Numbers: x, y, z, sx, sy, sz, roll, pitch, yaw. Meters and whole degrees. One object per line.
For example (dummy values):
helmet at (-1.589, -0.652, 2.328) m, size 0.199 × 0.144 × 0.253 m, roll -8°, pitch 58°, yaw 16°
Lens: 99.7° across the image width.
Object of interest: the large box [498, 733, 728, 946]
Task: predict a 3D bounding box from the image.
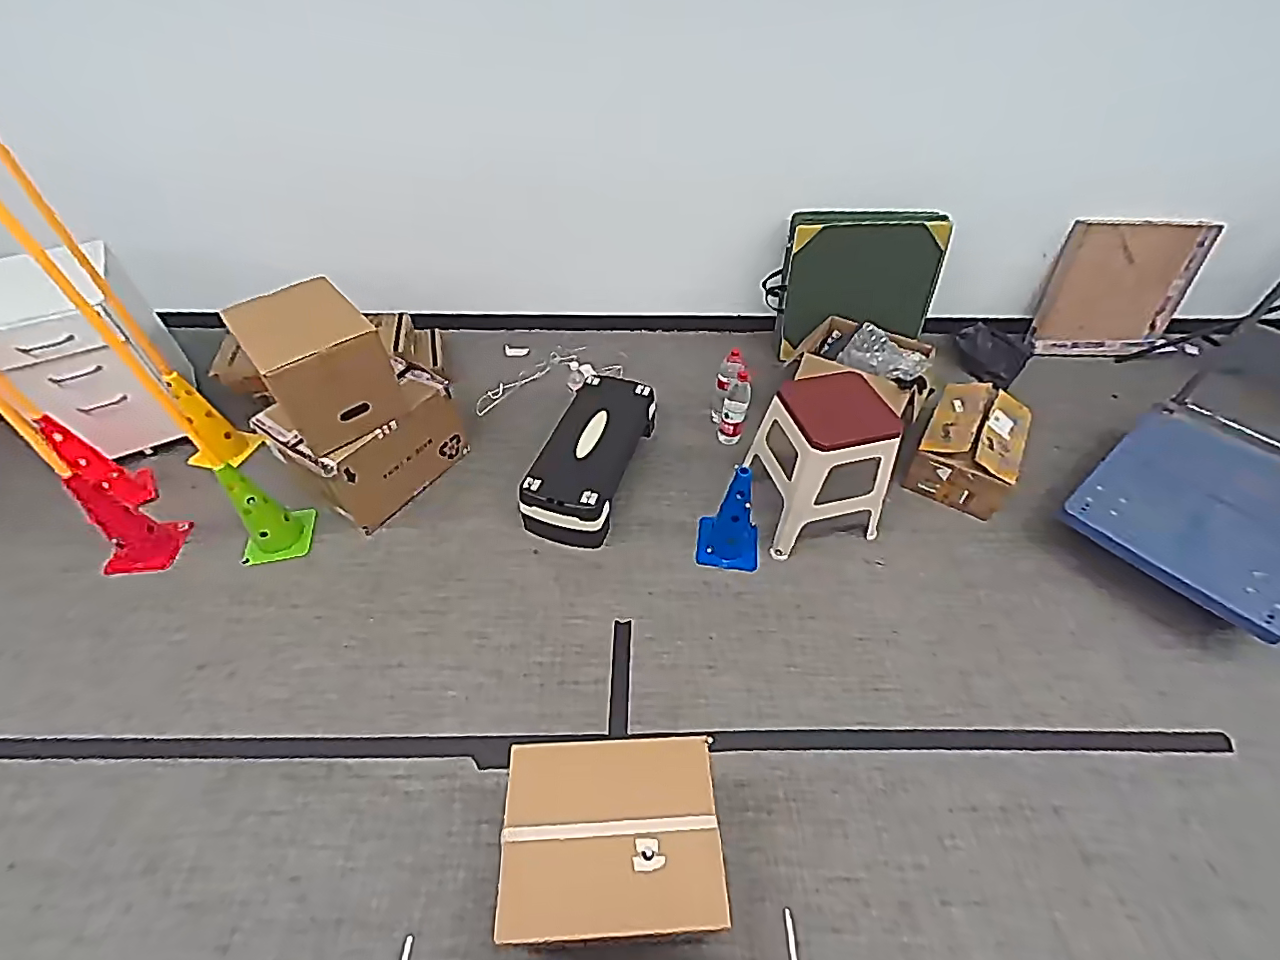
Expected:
large box at (-0.059, 0.749, 1.128) m, size 0.408 × 0.320 × 0.320 m, roll -1°, pitch 48°, yaw -4°
